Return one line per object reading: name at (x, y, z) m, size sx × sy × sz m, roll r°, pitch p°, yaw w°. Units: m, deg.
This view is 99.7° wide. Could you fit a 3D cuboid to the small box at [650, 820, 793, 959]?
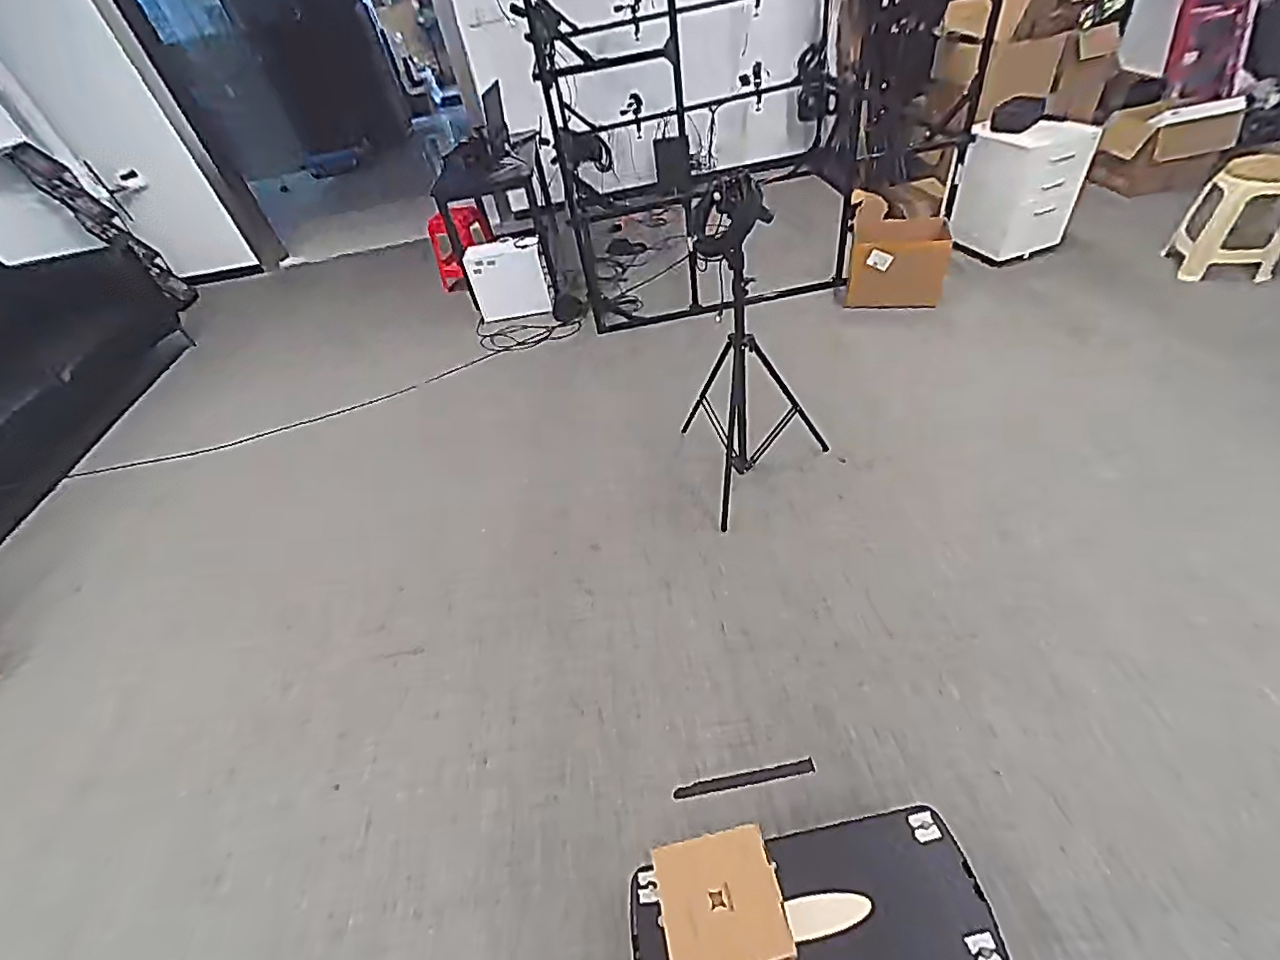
small box at (0.124, 0.671, 0.855) m, size 0.179 × 0.176 × 0.168 m, roll -14°, pitch 42°, yaw -3°
